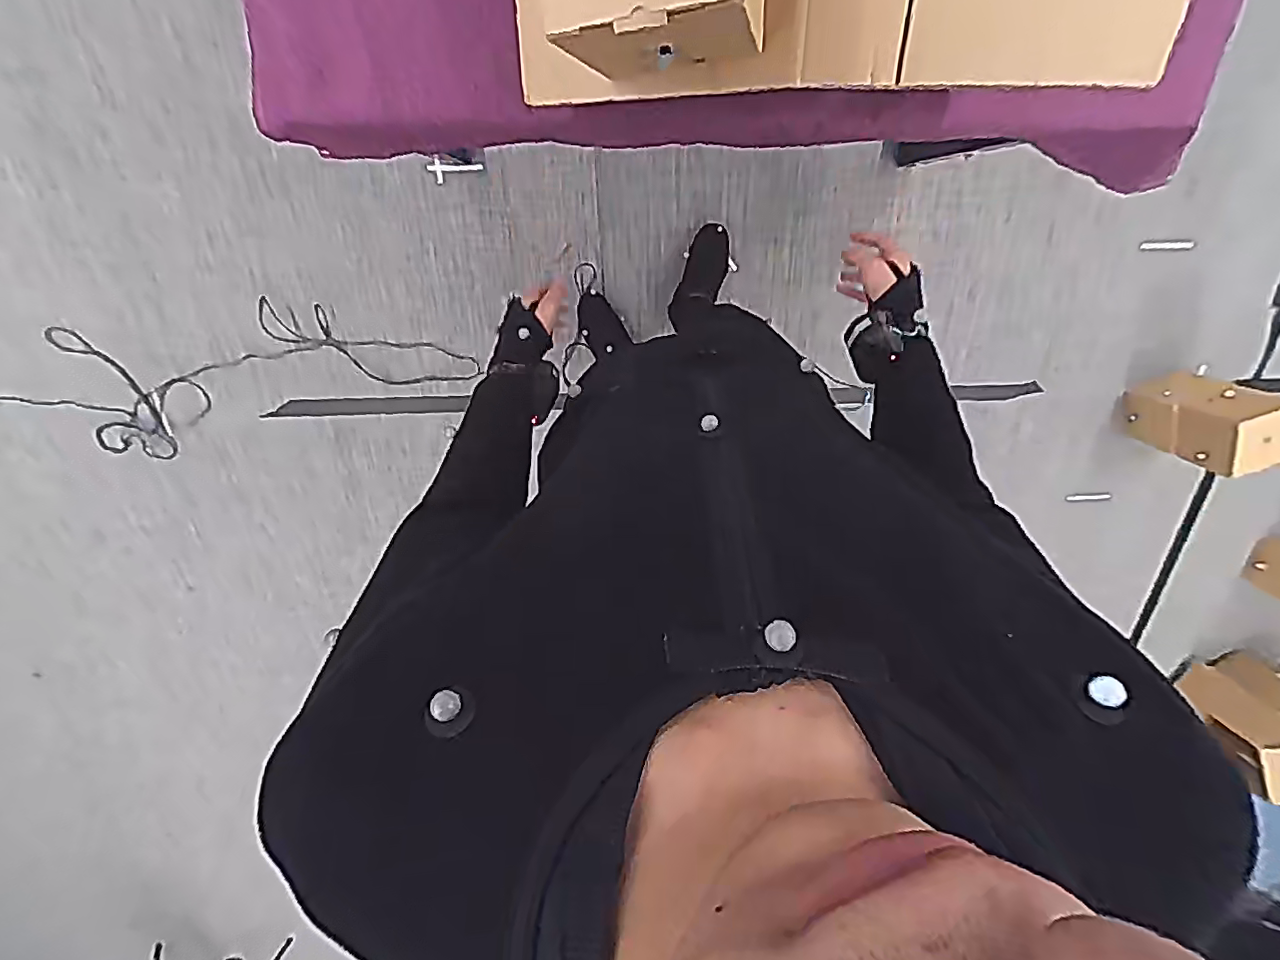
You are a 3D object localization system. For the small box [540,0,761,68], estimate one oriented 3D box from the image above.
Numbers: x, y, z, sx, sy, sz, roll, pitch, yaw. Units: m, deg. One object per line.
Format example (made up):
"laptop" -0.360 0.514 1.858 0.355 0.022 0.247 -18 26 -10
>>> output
"small box" 0.015 -0.475 0.459 0.168 0.176 0.179 4 117 16
